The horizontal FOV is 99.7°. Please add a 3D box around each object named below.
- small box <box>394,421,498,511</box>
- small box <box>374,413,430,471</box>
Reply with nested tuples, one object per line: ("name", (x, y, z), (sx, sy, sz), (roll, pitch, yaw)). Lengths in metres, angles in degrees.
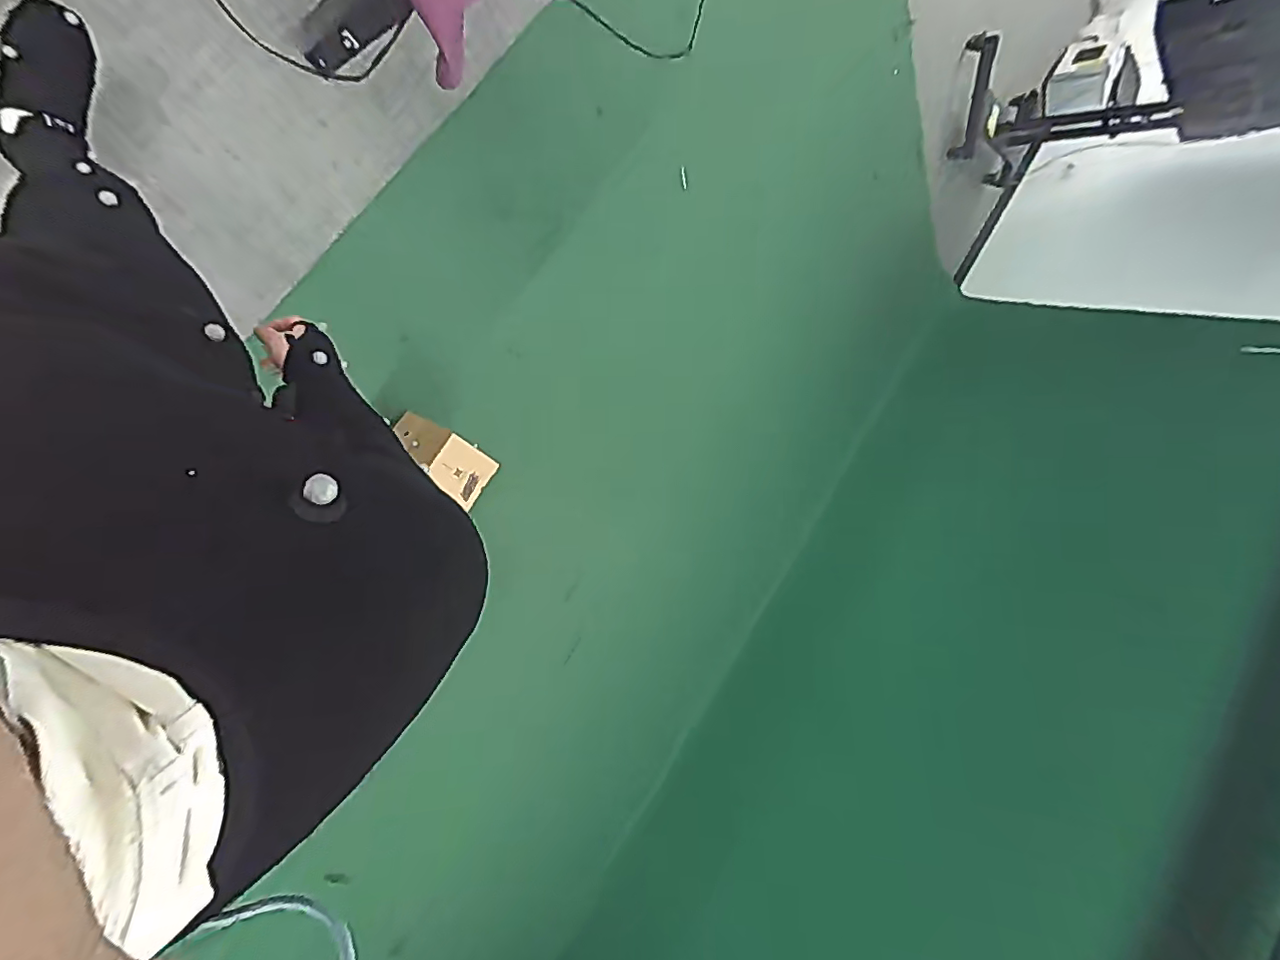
("small box", (-0.538, -0.044, 1.495), (0.168, 0.176, 0.179), (-58, 137, -9))
("small box", (-0.650, -0.083, 1.609), (0.168, 0.176, 0.179), (-56, 137, -11))
